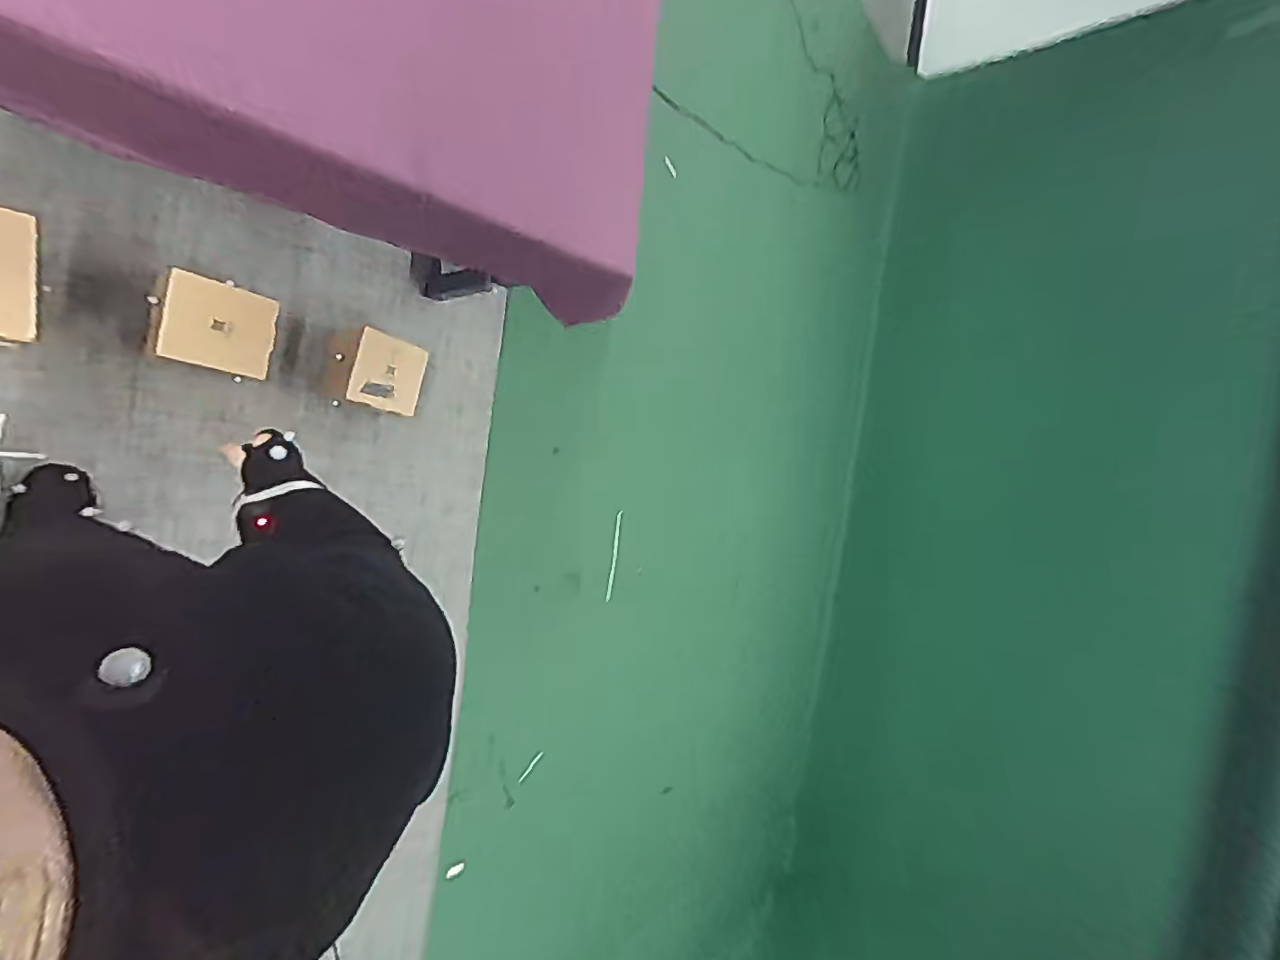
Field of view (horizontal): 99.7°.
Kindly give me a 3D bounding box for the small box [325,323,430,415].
[{"bbox_3d":[-0.656,-0.270,1.345,0.168,0.176,0.179,17,84,-49],"label":"small box"}]
